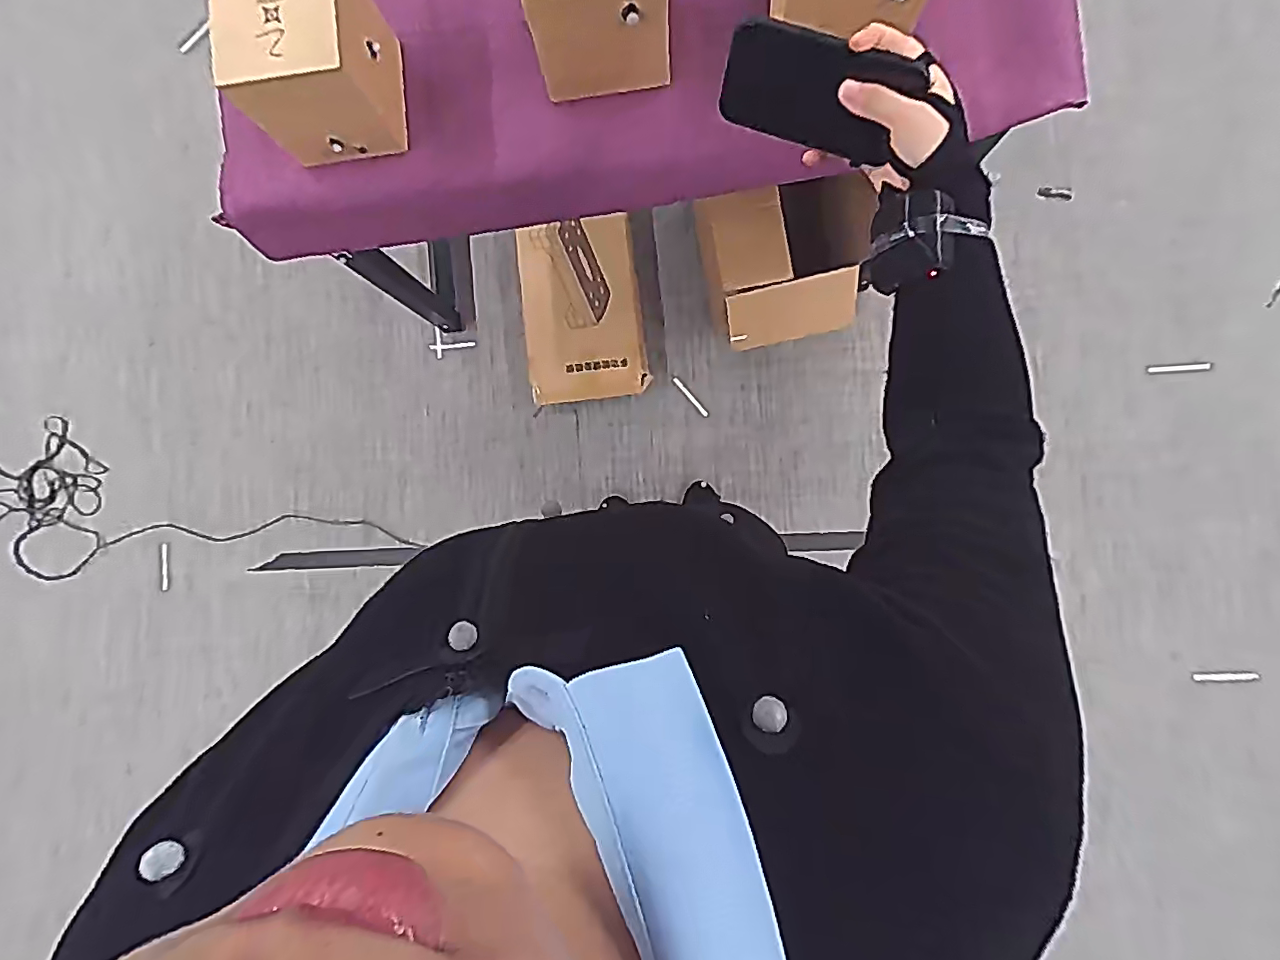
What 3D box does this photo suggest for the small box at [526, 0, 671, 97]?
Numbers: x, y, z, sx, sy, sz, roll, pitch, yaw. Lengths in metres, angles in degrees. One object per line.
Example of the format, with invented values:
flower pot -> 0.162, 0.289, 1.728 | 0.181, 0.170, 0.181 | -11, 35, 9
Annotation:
small box -> -0.051, -0.646, 0.706 | 0.179, 0.176, 0.168 | -6, 86, 4

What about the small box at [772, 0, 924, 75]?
small box -> 0.267, -0.653, 0.685 | 0.179, 0.176, 0.168 | 1, 89, 4
